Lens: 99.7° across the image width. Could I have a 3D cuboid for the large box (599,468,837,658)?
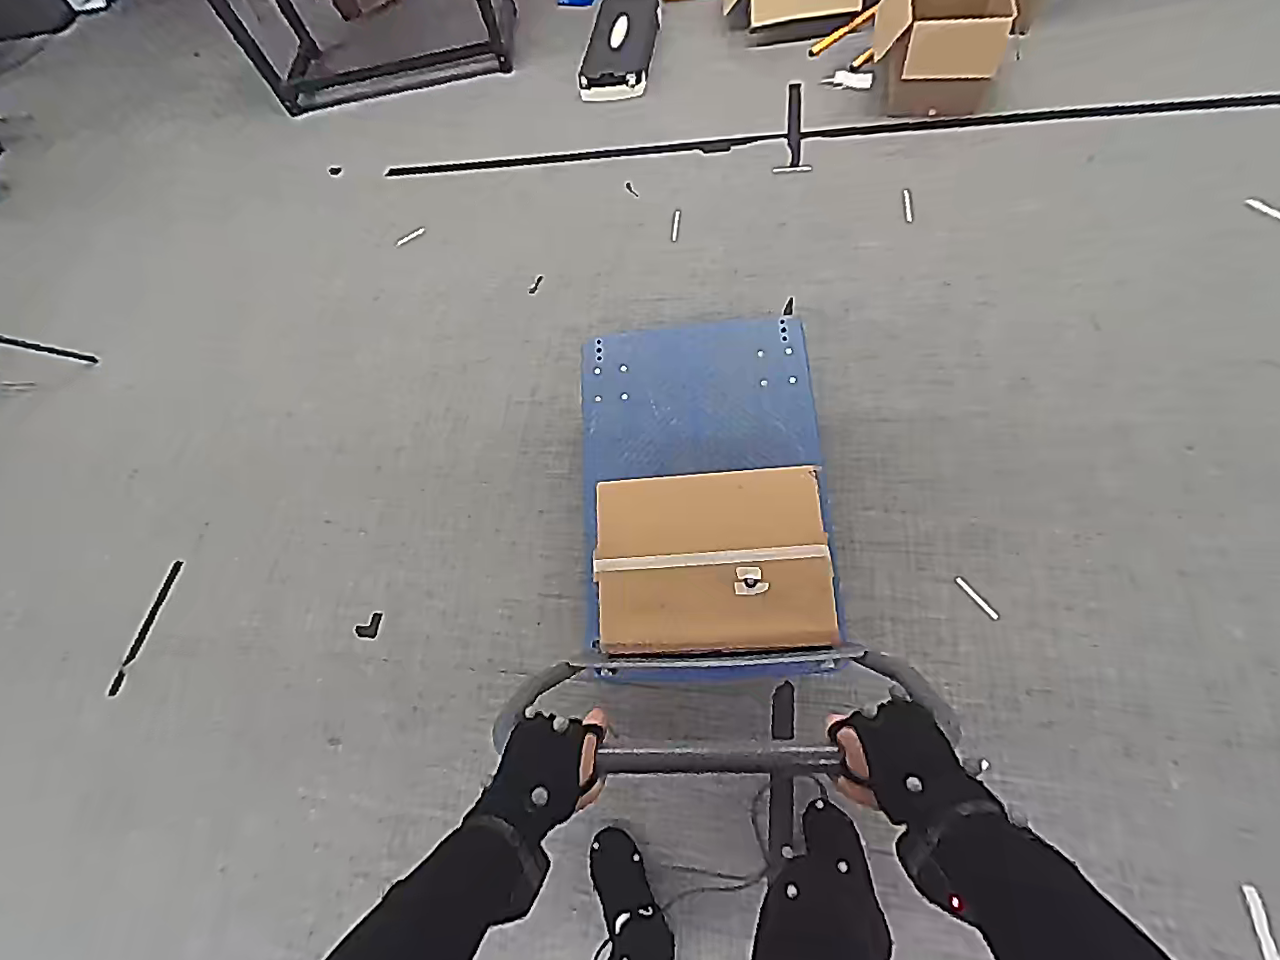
[{"bbox_3d":[0.145,0.184,1.115,0.408,0.320,0.320,-5,75,6],"label":"large box"}]
